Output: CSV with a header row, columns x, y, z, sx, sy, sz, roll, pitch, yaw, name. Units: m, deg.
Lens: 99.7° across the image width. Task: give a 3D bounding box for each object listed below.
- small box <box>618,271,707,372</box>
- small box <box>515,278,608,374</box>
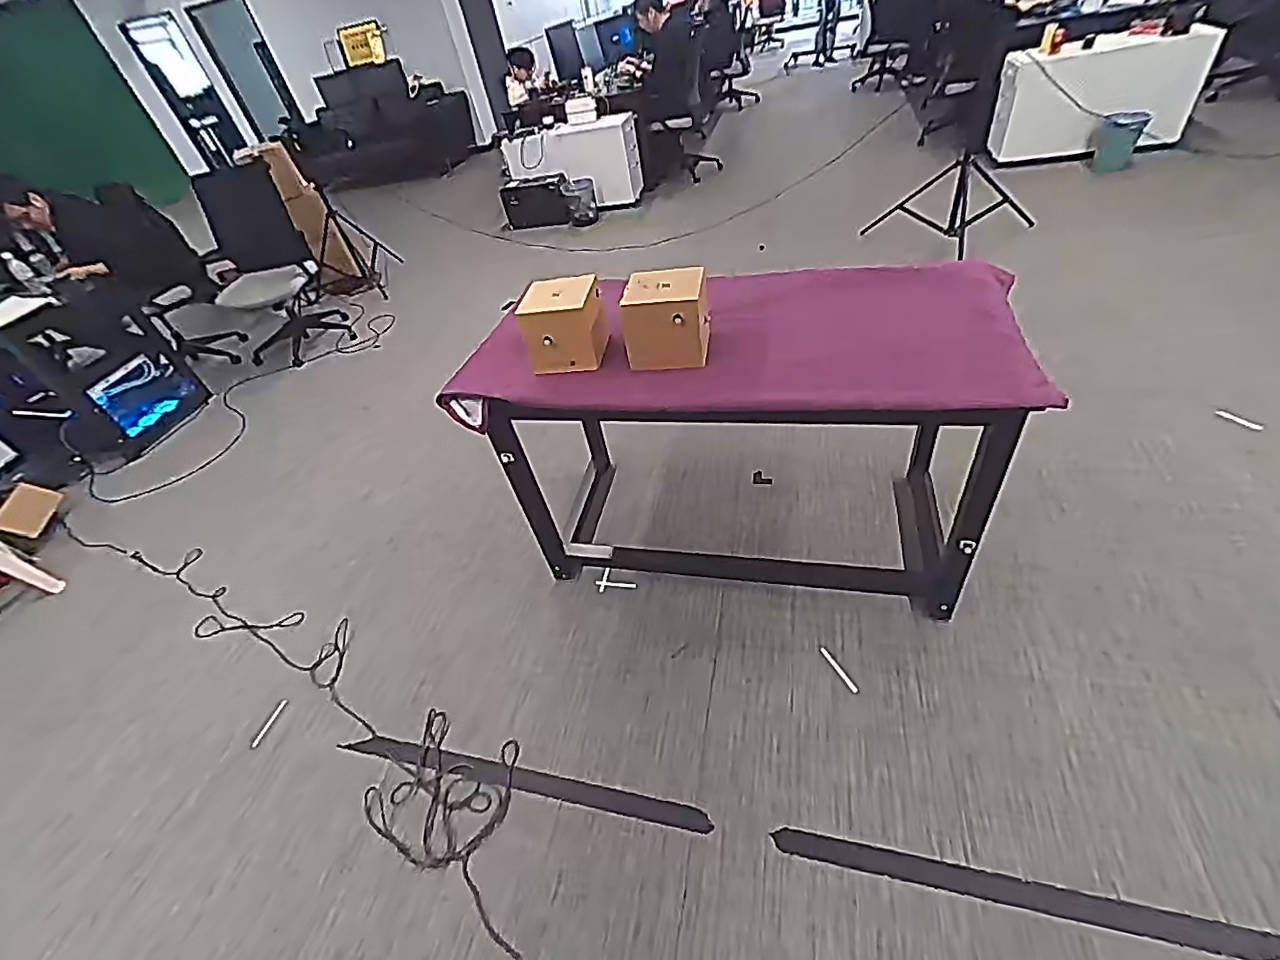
x,y,z,sx,sy,sz,roll,pitch,yaw,name
0.062,-0.367,1.262,0.179,0.176,0.168,0,43,13,small box
-0.184,-0.373,1.334,0.168,0.176,0.179,-3,43,11,small box
